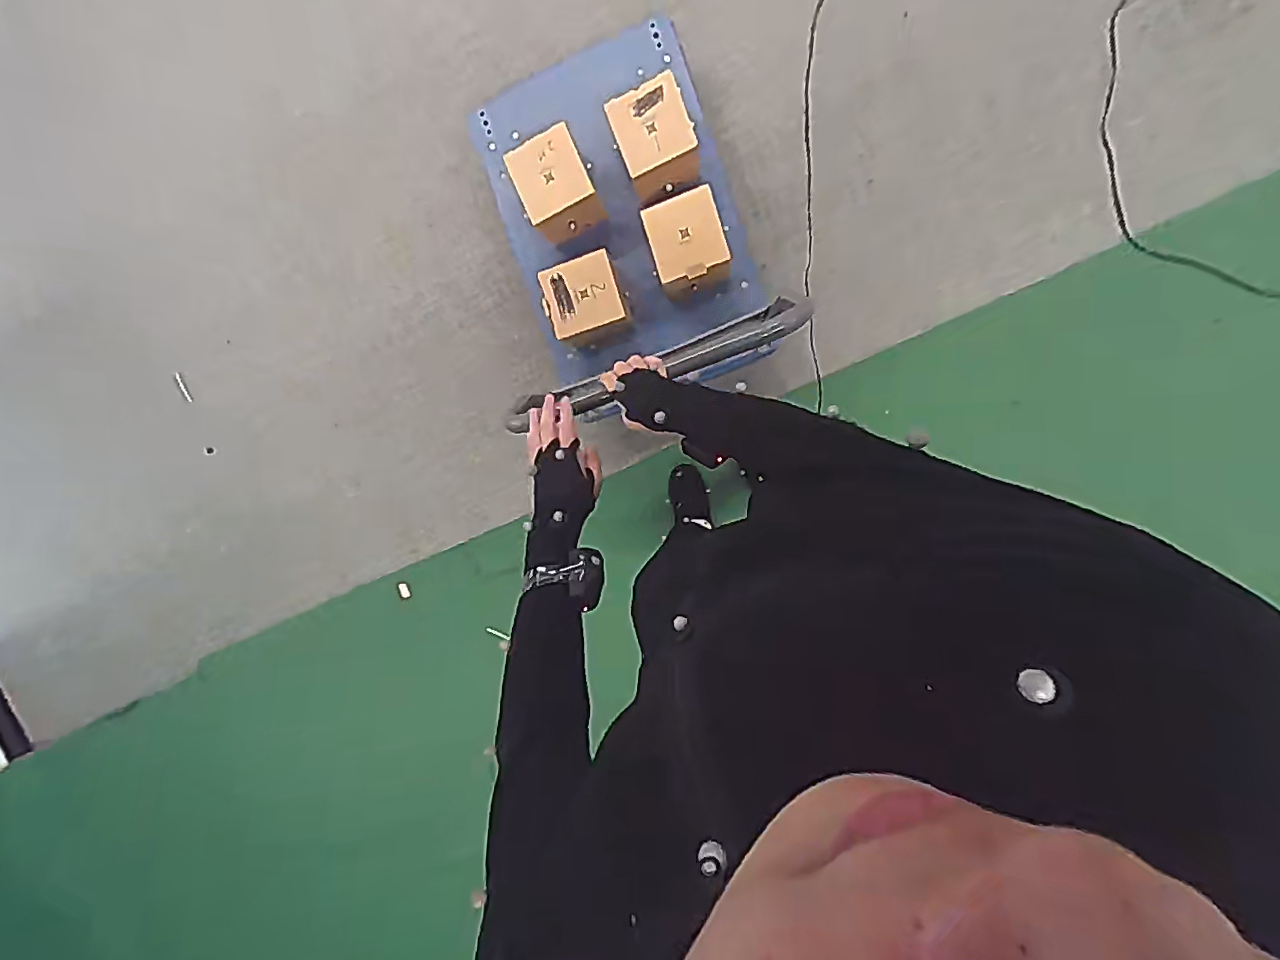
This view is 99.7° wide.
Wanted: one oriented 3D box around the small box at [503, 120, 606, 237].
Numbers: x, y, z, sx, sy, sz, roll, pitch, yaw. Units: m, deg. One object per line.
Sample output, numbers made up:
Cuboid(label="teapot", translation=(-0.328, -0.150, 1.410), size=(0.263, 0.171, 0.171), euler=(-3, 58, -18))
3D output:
Cuboid(label="small box", translation=(-0.199, -0.717, 1.317), size=(0.168, 0.176, 0.179), euler=(-23, 94, 10))

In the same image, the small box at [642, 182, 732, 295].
Cuboid(label="small box", translation=(0.115, -0.566, 1.293), size=(0.168, 0.176, 0.179), euler=(-17, 96, 10))

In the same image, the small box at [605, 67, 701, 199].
Cuboid(label="small box", translation=(0.037, -0.802, 1.270), size=(0.168, 0.176, 0.179), euler=(-21, 95, 12))
